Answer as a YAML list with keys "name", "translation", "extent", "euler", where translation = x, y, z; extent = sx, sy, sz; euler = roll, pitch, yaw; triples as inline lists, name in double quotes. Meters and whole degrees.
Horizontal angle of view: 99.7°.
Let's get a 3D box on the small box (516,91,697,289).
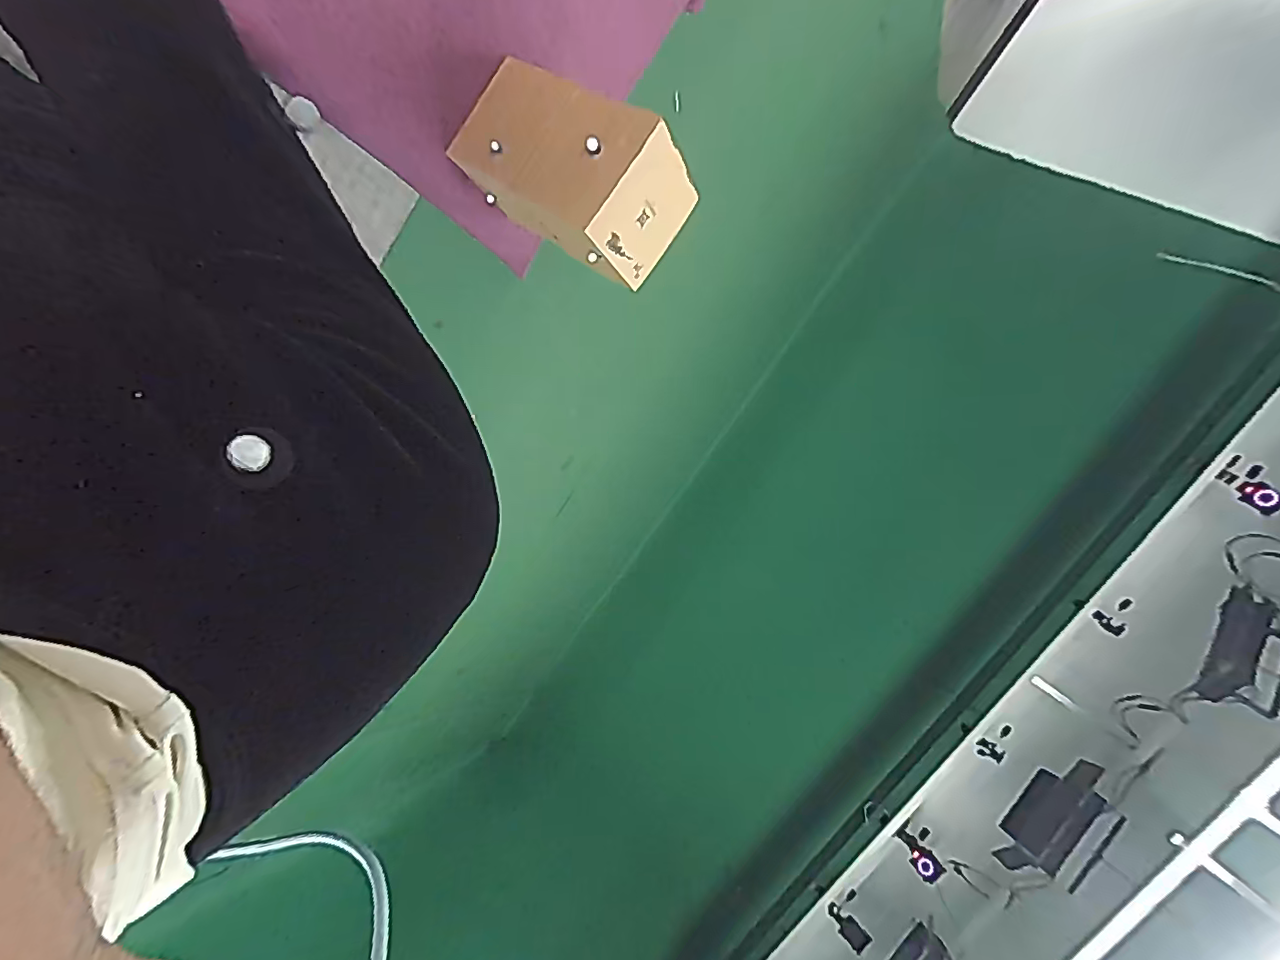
- name: "small box"
  translation: [-0.049, -0.427, 0.801]
  extent: [0.179, 0.176, 0.168]
  euler: [-55, 154, 5]
